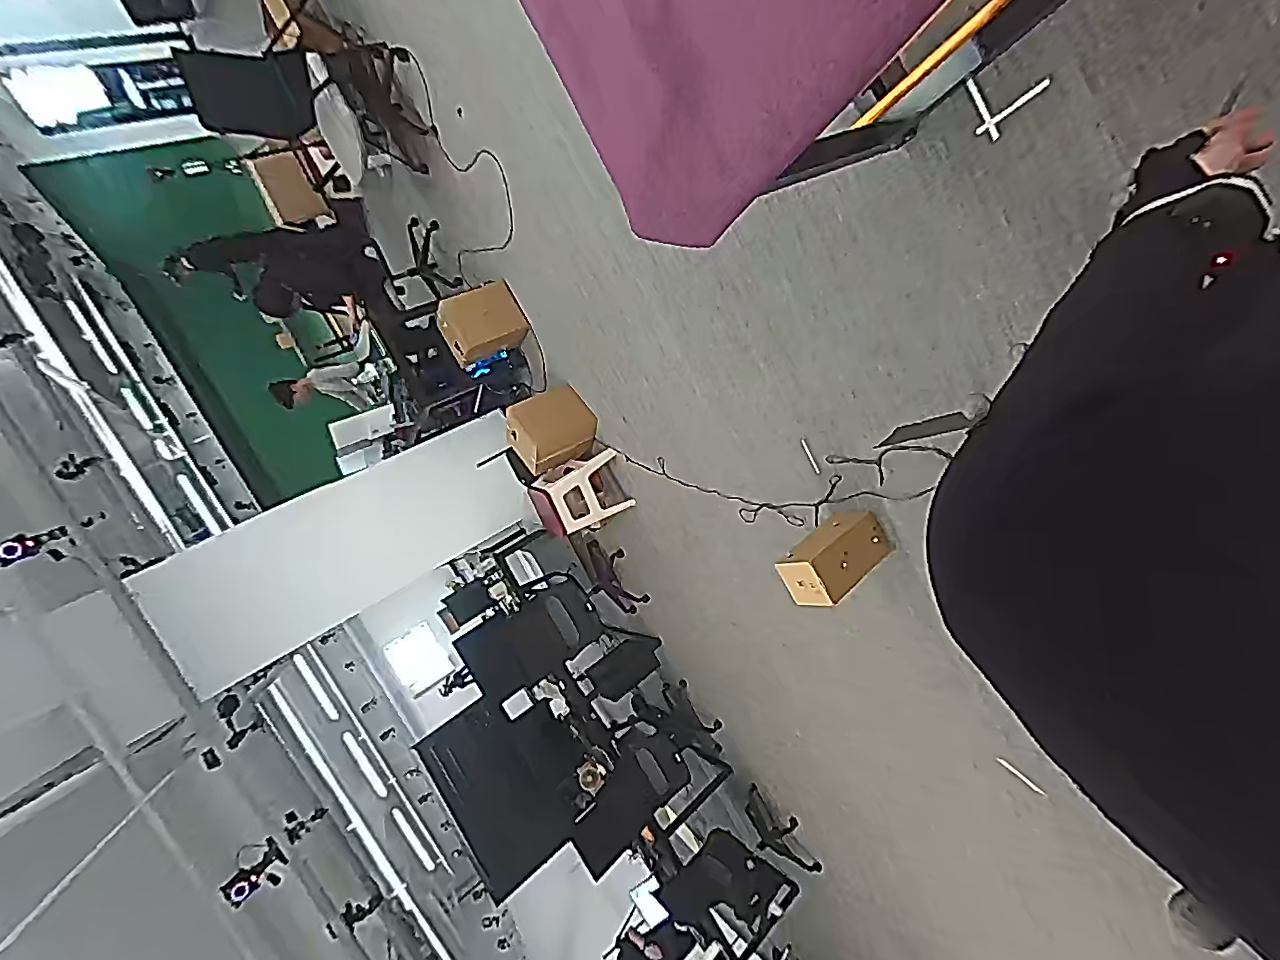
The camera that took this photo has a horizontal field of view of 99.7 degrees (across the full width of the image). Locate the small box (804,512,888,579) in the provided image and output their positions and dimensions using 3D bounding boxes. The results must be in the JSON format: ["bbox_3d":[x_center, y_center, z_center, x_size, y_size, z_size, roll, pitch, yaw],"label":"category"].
[{"bbox_3d":[0.709,0.224,1.858,0.168,0.176,0.179,61,152,-5],"label":"small box"}]

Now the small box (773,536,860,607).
[{"bbox_3d":[0.584,0.300,1.782,0.168,0.176,0.179,60,152,-4],"label":"small box"}]
